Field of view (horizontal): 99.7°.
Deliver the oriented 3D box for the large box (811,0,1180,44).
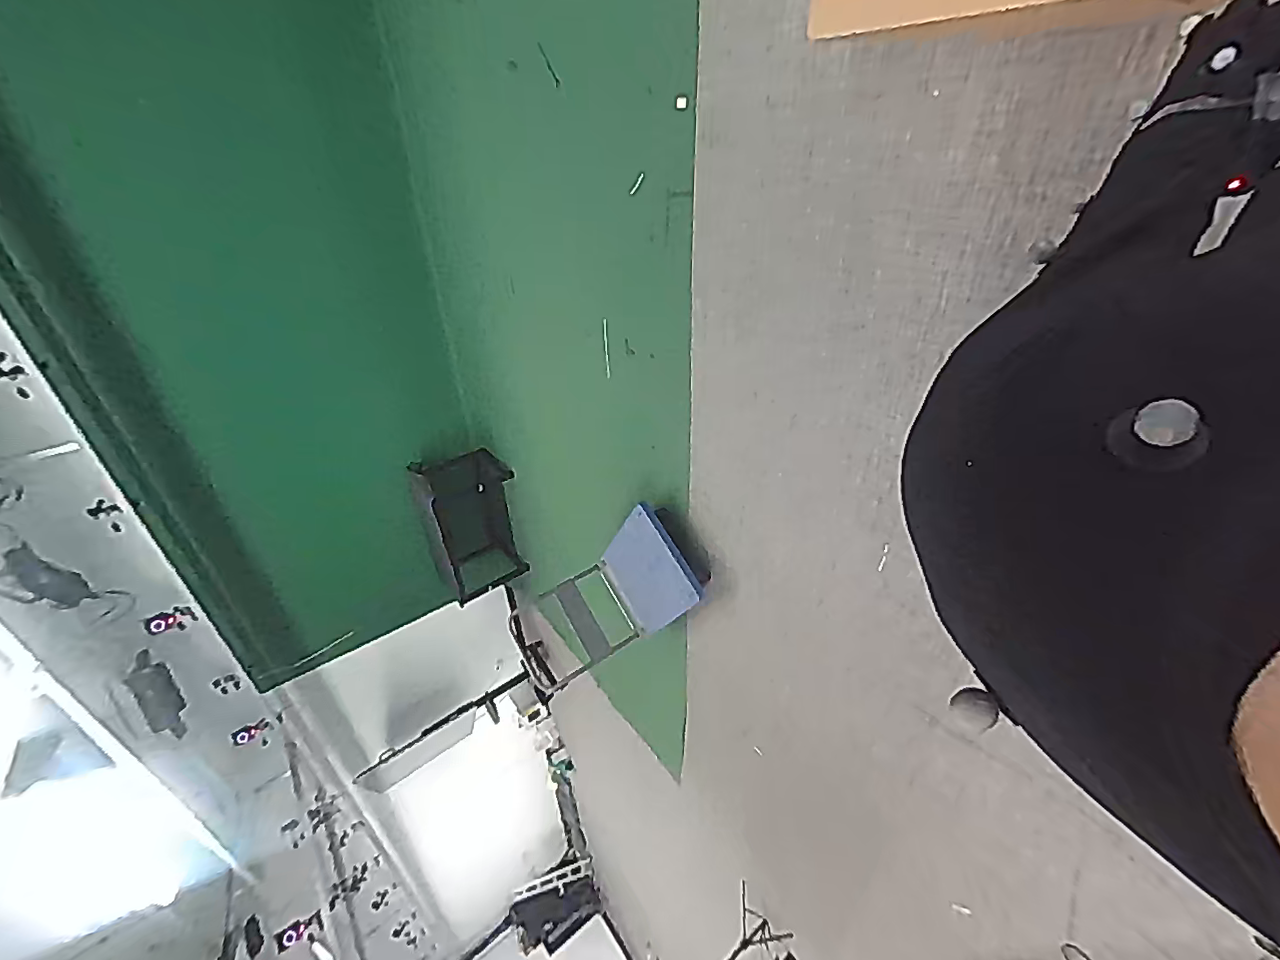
[{"bbox_3d":[0.497,-0.797,0.704,0.408,0.320,0.320,33,138,42],"label":"large box"}]
